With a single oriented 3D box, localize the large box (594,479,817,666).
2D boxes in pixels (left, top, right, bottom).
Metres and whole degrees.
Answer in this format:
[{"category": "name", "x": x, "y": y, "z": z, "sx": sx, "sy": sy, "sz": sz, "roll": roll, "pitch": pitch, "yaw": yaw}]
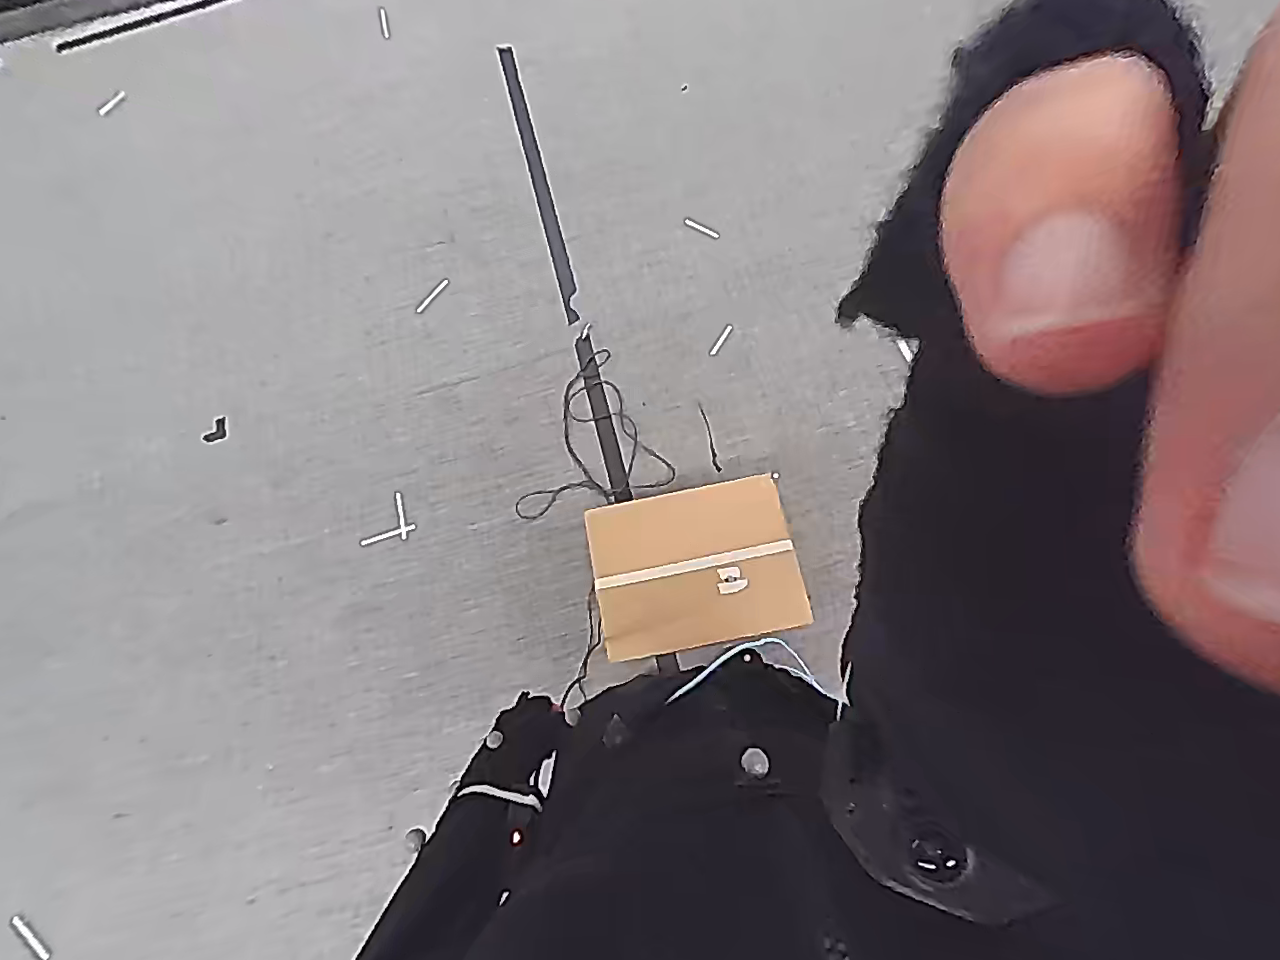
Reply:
[{"category": "large box", "x": 0.134, "y": 0.225, "z": 1.237, "sx": 0.408, "sy": 0.320, "sz": 0.320, "roll": -11, "pitch": 73, "yaw": 1}]
